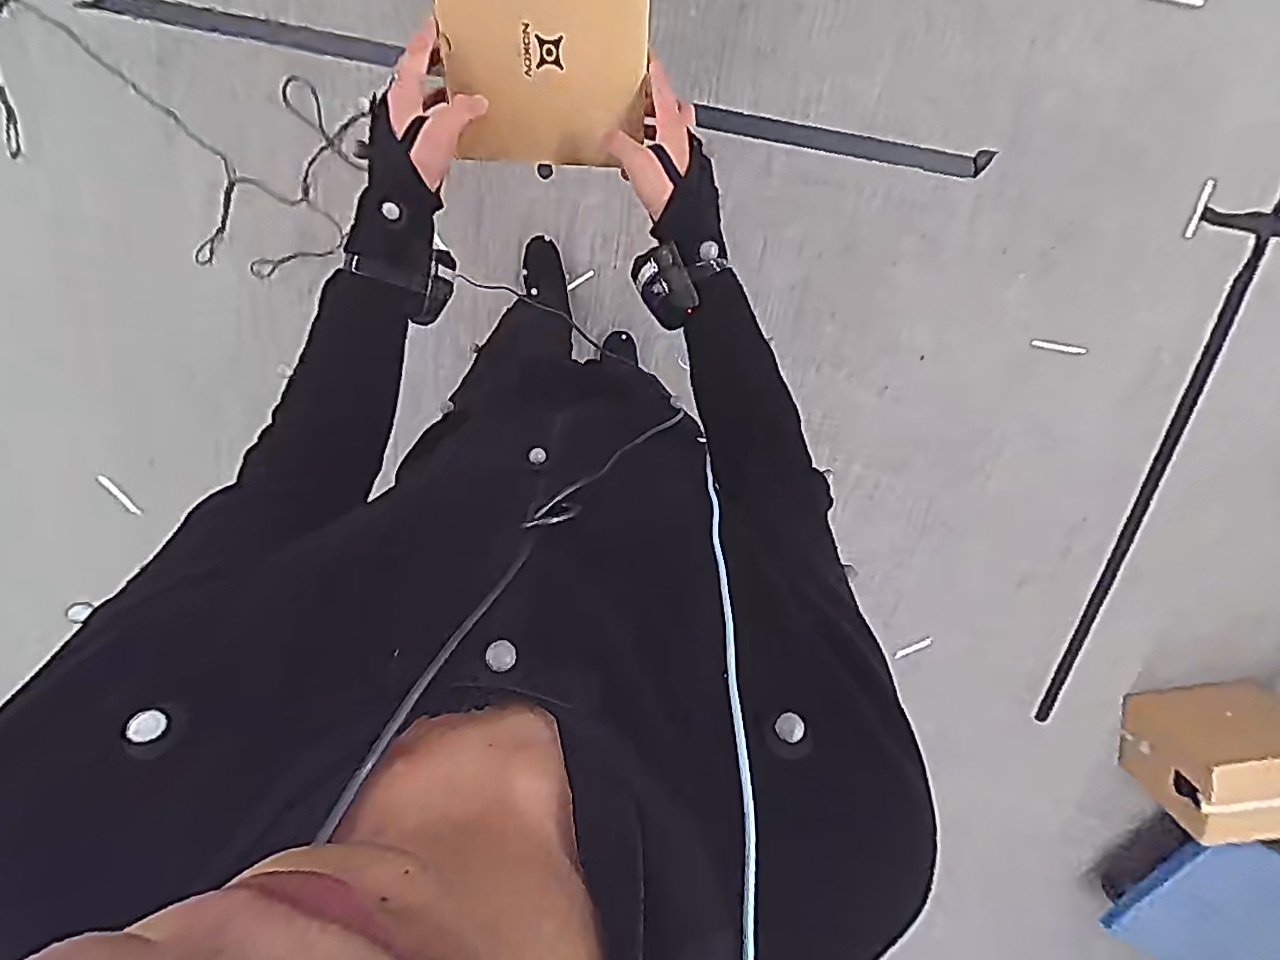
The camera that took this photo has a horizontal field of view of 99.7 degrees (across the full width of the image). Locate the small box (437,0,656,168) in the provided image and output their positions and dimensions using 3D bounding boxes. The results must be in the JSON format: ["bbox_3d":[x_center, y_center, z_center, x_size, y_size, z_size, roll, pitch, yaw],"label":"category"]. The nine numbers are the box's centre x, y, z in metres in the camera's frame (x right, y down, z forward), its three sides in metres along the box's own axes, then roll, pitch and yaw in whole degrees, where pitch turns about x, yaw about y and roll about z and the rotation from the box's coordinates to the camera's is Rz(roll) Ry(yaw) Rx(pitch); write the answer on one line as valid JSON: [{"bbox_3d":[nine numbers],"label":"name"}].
[{"bbox_3d":[-0.079,-0.407,0.512,0.179,0.176,0.168,2,127,-3],"label":"small box"}]
